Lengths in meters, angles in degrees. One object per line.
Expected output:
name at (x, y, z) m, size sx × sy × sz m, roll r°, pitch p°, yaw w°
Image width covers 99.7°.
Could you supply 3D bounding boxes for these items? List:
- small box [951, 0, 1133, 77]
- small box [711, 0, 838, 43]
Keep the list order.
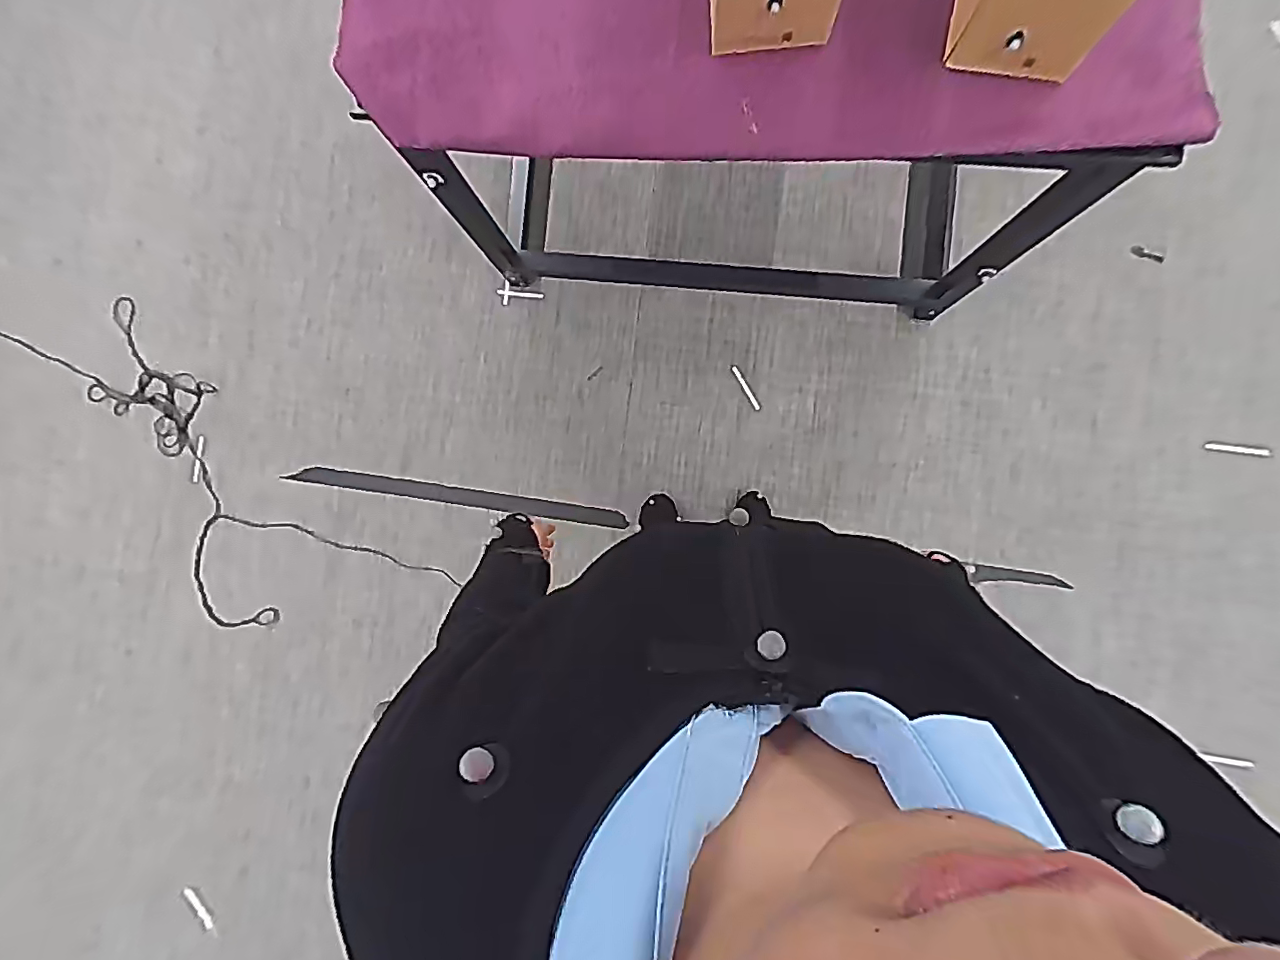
small box at (0.521, -0.662, 0.678) m, size 0.168 × 0.176 × 0.179 m, roll 11°, pitch 88°, yaw 5°
small box at (0.181, -0.716, 0.706) m, size 0.168 × 0.176 × 0.179 m, roll -2°, pitch 88°, yaw 4°
